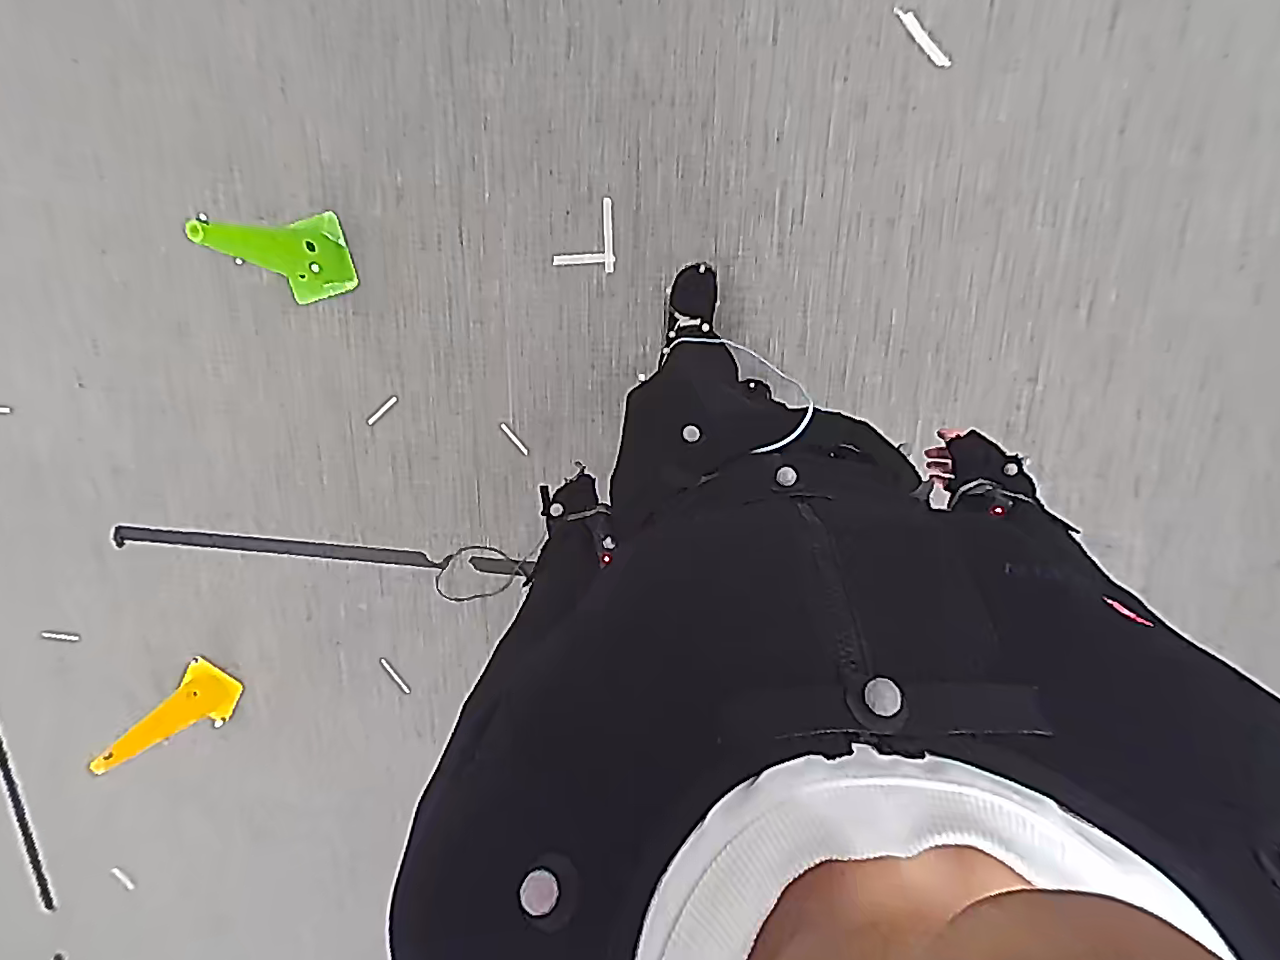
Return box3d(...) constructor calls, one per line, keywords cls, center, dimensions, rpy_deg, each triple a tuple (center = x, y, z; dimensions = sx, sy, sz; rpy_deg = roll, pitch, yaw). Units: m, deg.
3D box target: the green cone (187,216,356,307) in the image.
box3d(cls="green cone", center=(-0.900, -0.545, 1.290), dimensions=(0.202, 0.368, 0.200), rpy_deg=(-13, 101, 10))
